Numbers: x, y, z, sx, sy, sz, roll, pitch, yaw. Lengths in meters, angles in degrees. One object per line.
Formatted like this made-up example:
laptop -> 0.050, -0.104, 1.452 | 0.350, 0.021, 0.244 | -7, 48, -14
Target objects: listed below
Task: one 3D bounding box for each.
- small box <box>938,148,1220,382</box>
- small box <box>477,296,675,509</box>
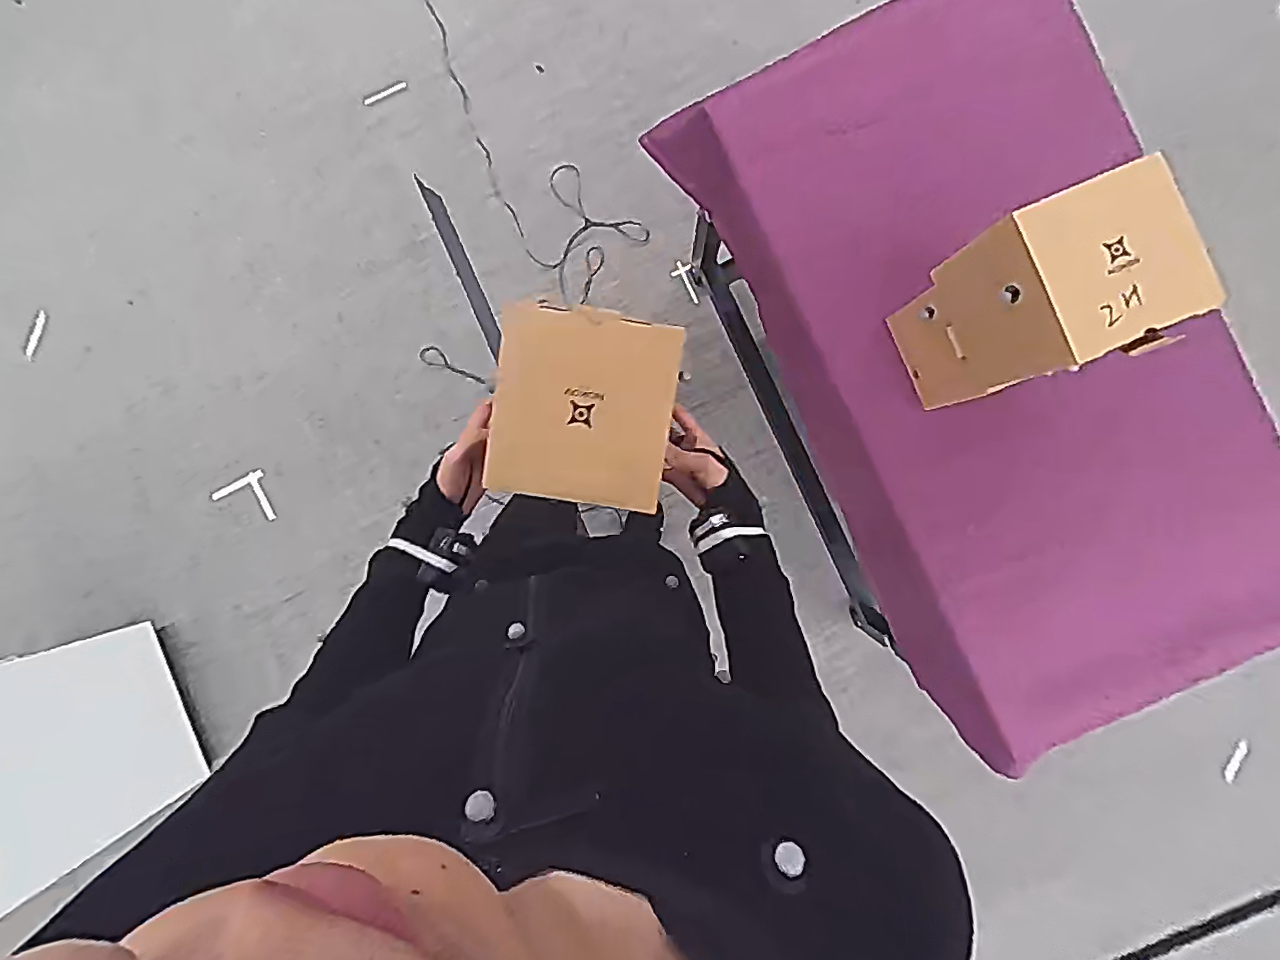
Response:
small box -> 0.493, -0.235, 0.639 | 0.168, 0.176, 0.179 | -23, 90, 2
small box -> -0.060, -0.076, 0.577 | 0.168, 0.176, 0.179 | 8, 94, -2
